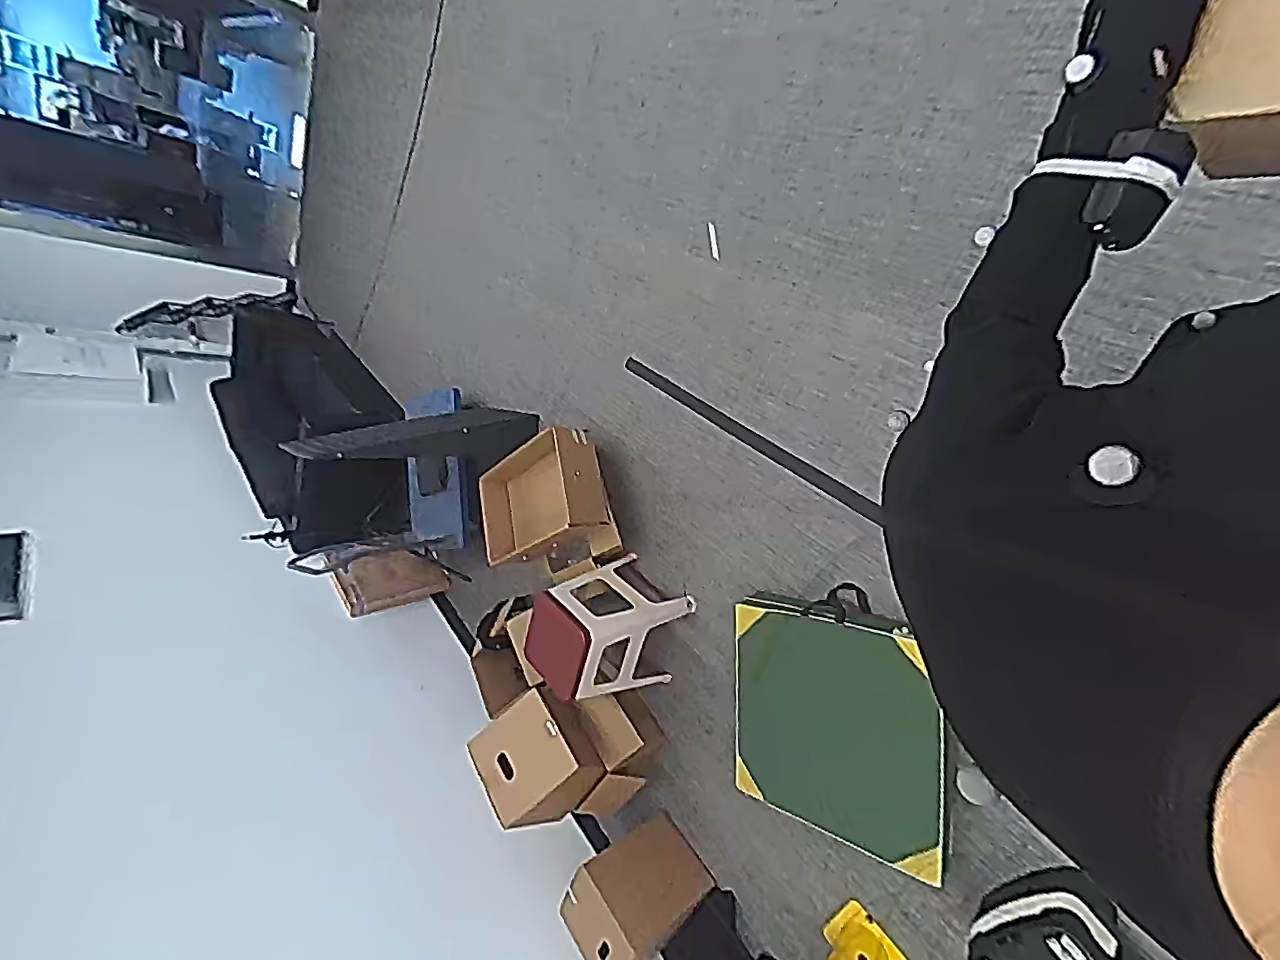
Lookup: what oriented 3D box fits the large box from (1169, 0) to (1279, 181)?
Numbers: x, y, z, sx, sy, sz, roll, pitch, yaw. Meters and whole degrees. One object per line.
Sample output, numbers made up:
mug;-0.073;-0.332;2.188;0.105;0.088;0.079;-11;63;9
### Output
large box;0.631;-0.376;0.300;0.408;0.320;0.320;25;121;44
